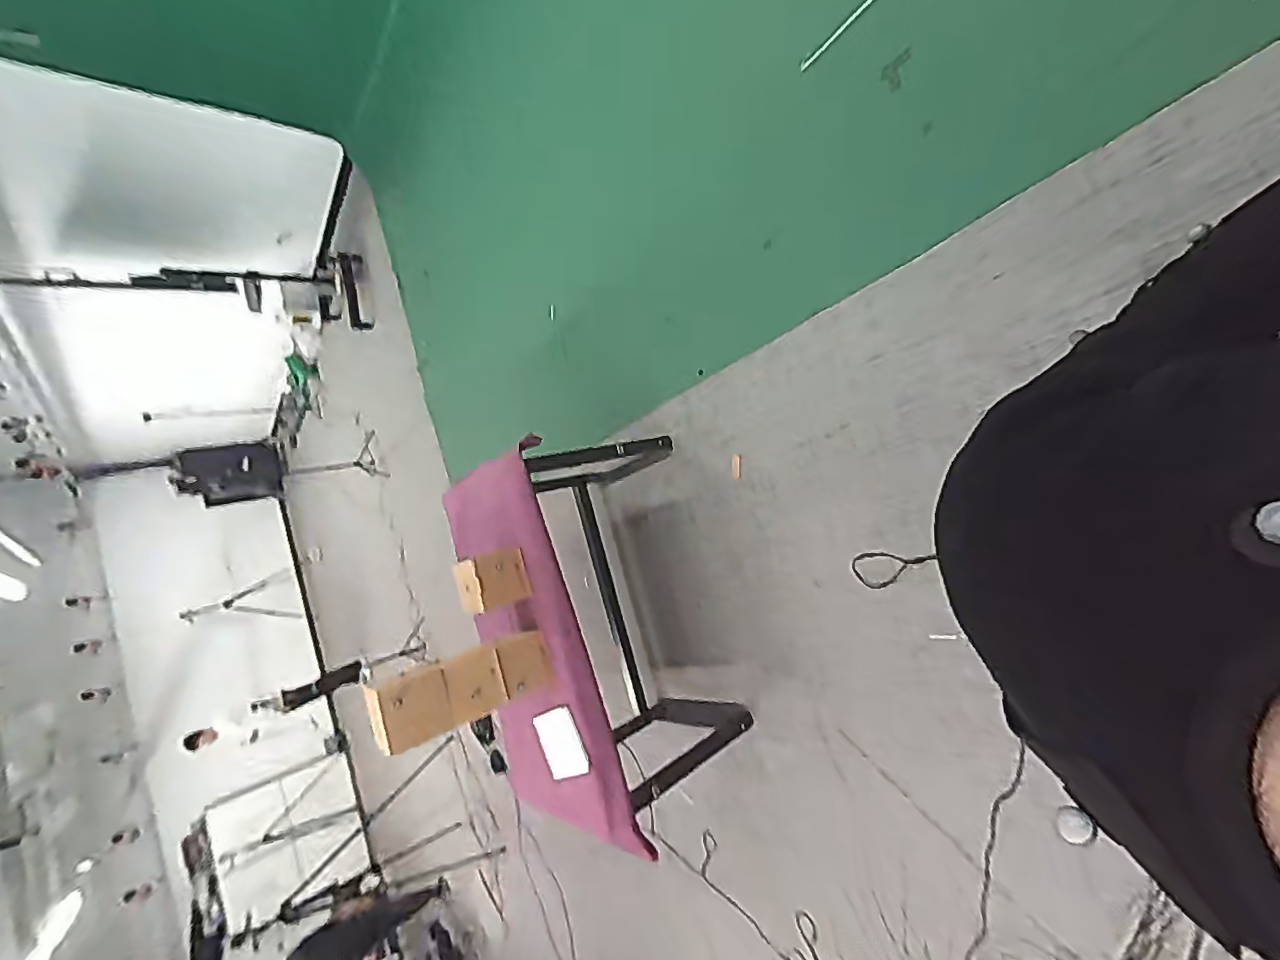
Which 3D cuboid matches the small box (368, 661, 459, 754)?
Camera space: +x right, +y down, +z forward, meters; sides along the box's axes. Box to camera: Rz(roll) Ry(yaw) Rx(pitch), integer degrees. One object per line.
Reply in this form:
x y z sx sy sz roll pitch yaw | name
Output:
-0.622 0.613 1.486 0.168 0.176 0.179 -18 87 51 | small box

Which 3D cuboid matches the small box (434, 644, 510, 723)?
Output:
-0.500 0.593 1.596 0.179 0.176 0.168 -21 84 50 | small box

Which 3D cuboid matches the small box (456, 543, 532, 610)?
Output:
-0.461 0.308 1.728 0.179 0.176 0.168 -21 83 51 | small box
